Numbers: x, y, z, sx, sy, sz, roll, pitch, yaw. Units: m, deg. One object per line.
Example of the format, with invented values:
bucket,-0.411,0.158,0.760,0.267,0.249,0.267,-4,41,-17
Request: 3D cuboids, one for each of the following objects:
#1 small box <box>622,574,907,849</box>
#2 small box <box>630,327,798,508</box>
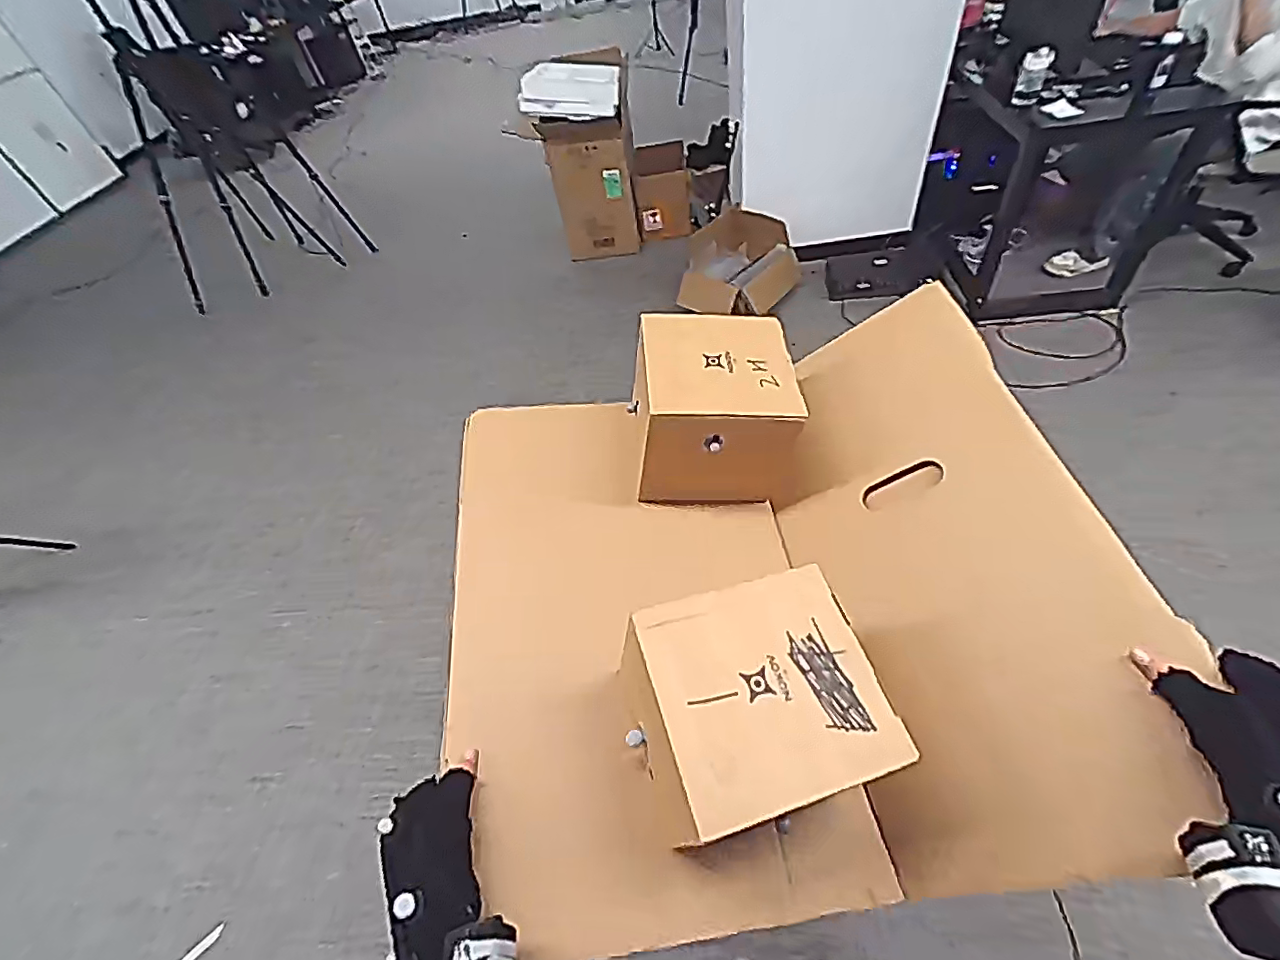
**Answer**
small box,0.090,0.210,0.491,0.179,0.176,0.168,-13,57,-13
small box,0.078,-0.075,0.693,0.179,0.176,0.168,1,55,-6
